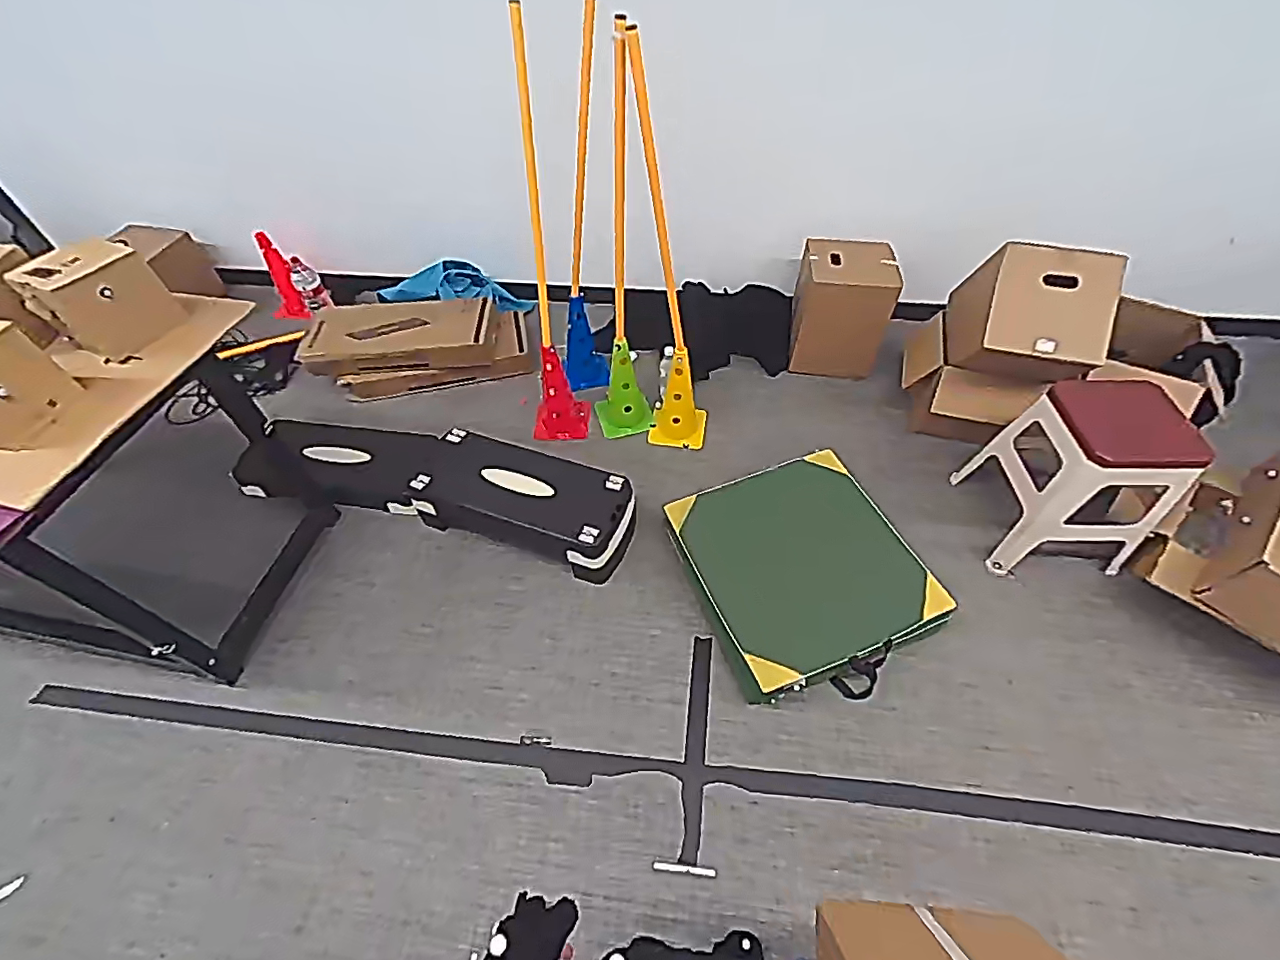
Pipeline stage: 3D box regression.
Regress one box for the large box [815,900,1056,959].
[{"bbox_3d":[0.408,0.774,0.617,0.320,0.408,0.320,2,77,4],"label":"large box"}]
